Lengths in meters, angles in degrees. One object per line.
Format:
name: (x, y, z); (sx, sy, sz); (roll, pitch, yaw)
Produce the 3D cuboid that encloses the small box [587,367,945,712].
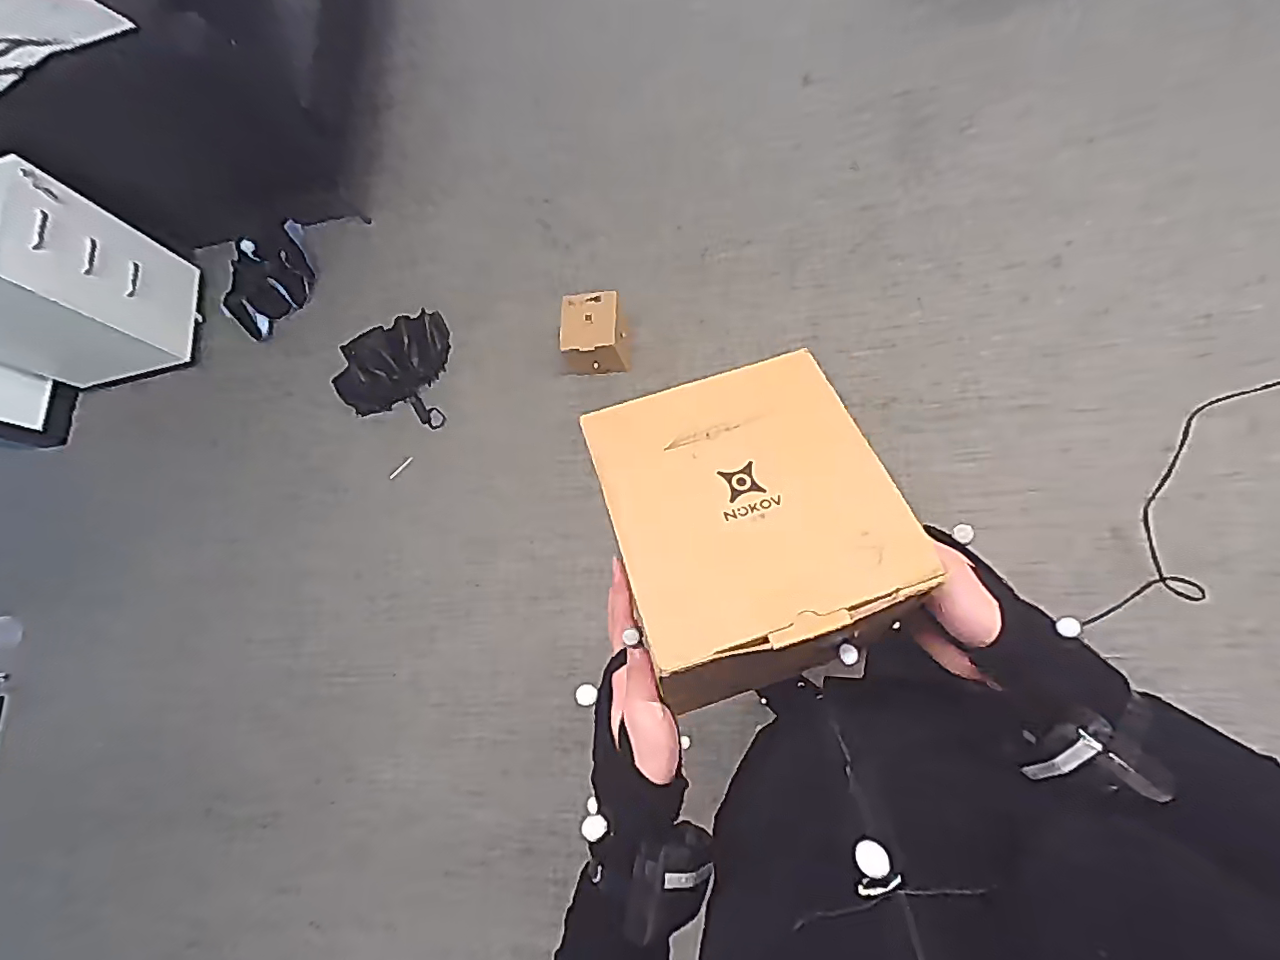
small box: (0.072, 0.055, 0.394); (0.168, 0.176, 0.179); (-17, 58, -5)
